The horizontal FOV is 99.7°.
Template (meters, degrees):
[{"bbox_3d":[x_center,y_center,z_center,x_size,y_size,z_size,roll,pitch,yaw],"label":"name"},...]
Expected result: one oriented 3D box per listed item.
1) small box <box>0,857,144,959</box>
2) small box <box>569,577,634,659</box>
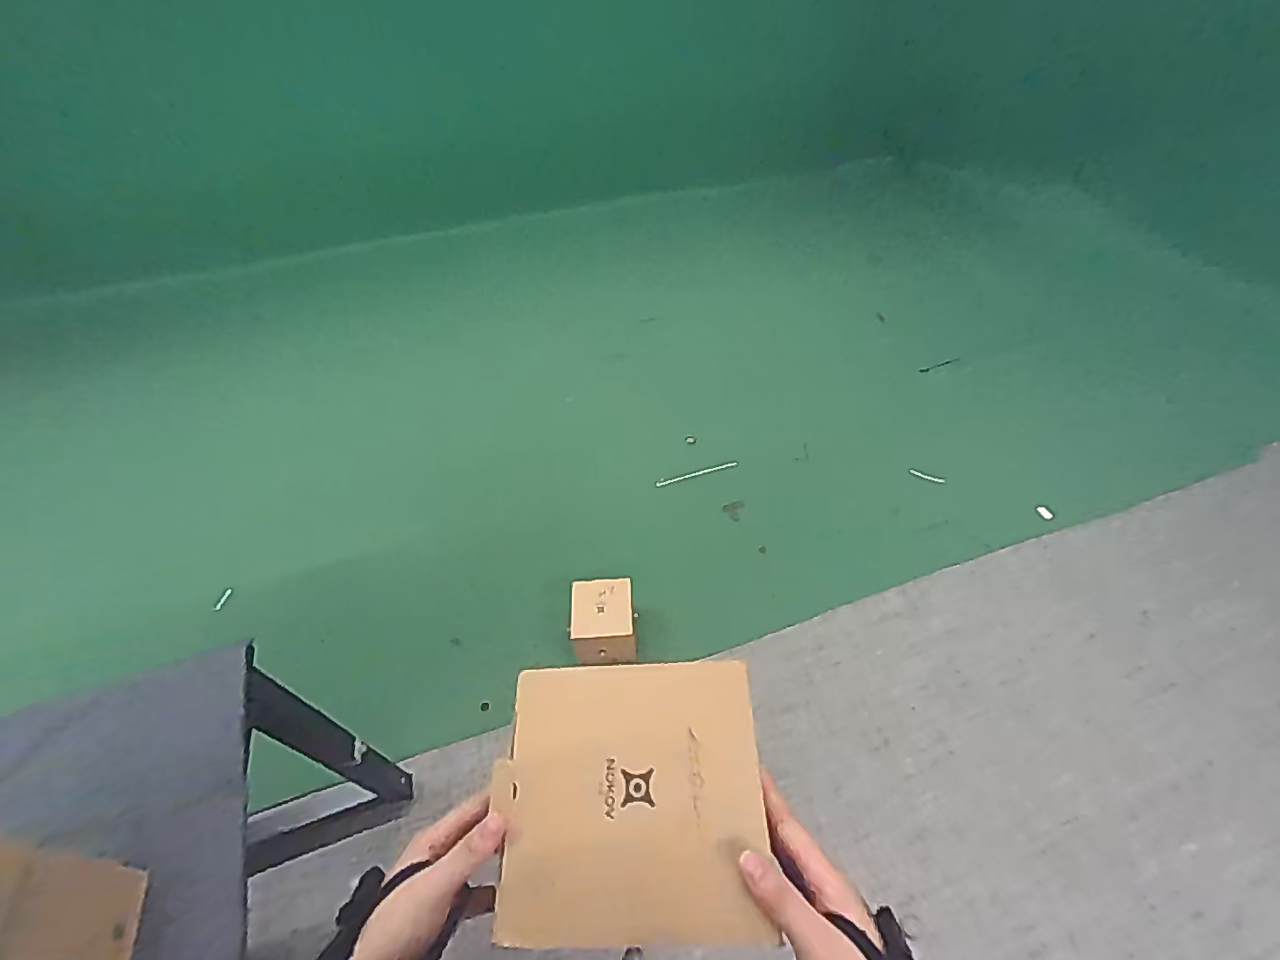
[{"bbox_3d":[-0.624,0.480,0.498,0.179,0.176,0.168,-17,50,-10],"label":"small box"},{"bbox_3d":[-0.103,0.393,1.521,0.168,0.176,0.179,-3,48,-1],"label":"small box"}]
